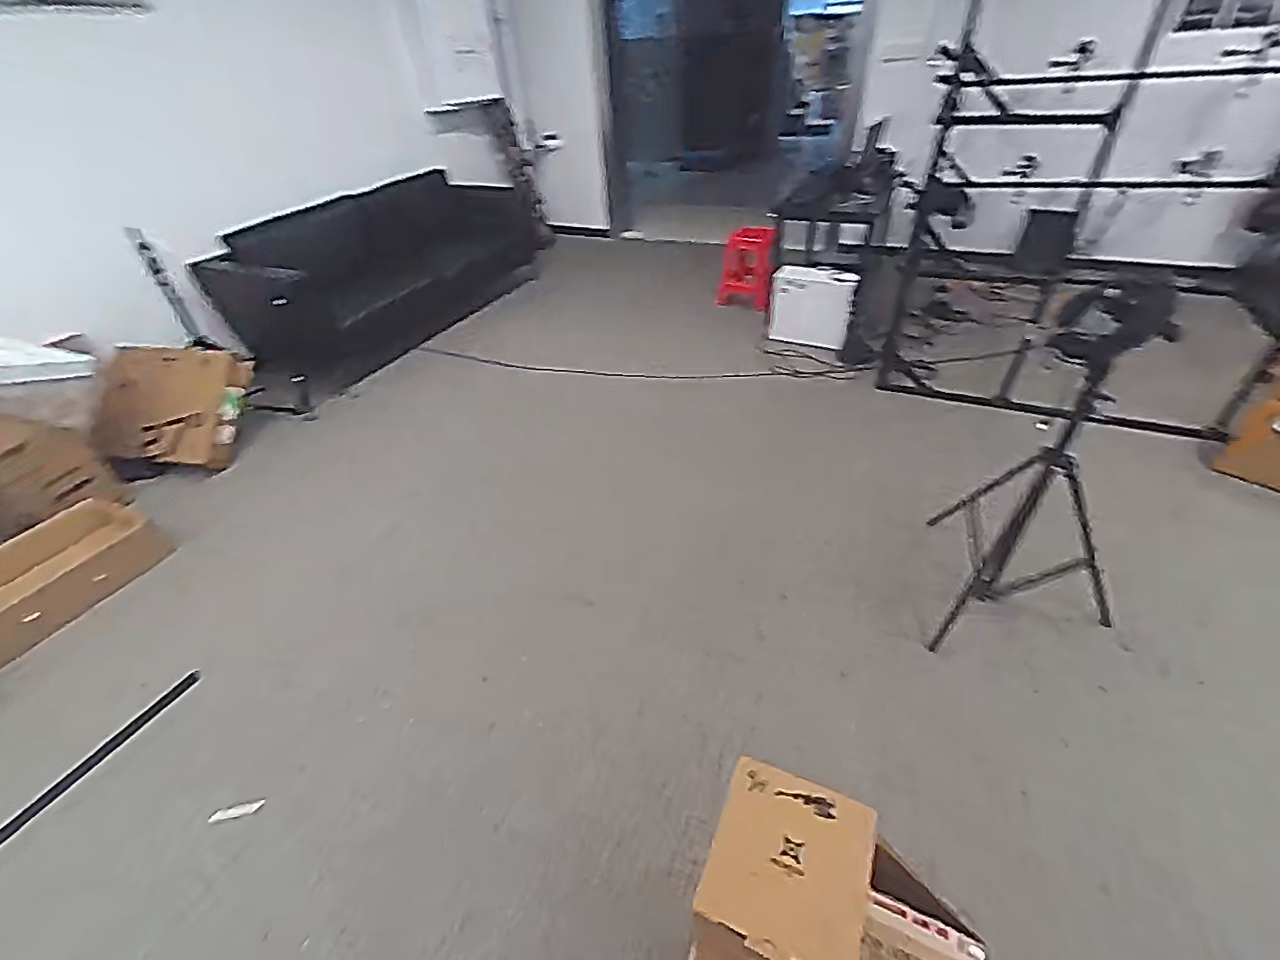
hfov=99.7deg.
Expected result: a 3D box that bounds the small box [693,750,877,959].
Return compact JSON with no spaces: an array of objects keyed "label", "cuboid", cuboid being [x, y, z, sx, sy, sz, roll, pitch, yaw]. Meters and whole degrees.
[{"label":"small box","cuboid":[0.174,0.473,0.651,0.168,0.176,0.179,13,44,23]}]
